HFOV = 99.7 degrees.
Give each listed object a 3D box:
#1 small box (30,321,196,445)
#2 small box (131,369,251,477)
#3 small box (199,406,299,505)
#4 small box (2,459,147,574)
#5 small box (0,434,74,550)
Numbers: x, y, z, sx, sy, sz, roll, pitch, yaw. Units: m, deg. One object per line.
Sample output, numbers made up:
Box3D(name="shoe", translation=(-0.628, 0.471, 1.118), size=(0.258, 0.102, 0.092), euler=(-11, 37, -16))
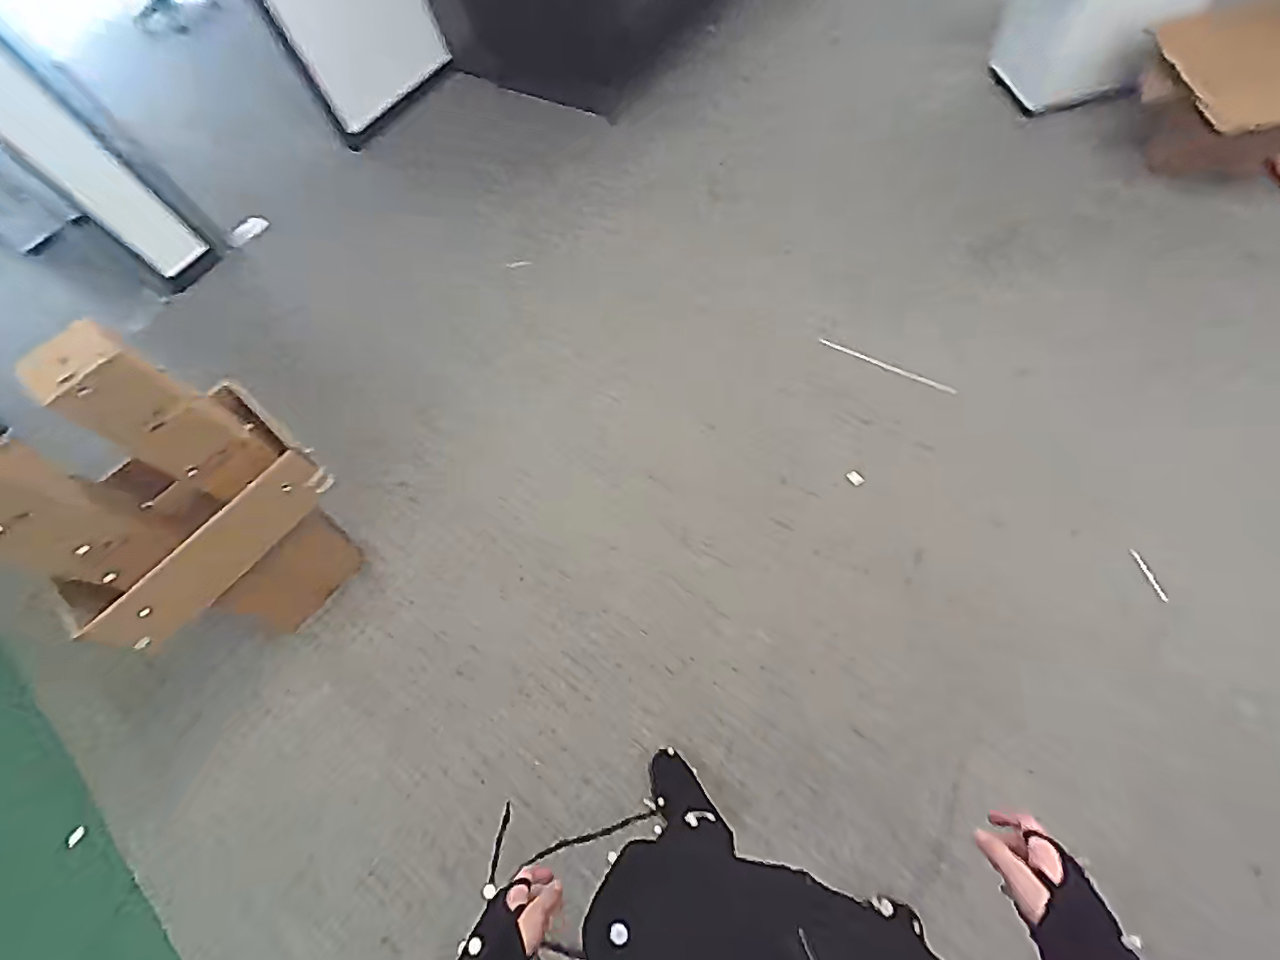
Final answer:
Box3D(name="small box", translation=(-1.134, -0.205, 1.174), size=(0.179, 0.176, 0.168), euler=(34, 74, 24))
Box3D(name="small box", translation=(-1.104, -0.129, 1.316), size=(0.179, 0.176, 0.168), euler=(37, 75, 25))
Box3D(name="small box", translation=(-1.081, -0.061, 1.465), size=(0.179, 0.176, 0.168), euler=(36, 74, 23))
Box3D(name="small box", translation=(-1.304, 0.089, 1.242), size=(0.179, 0.176, 0.168), euler=(38, 76, 25))
Box3D(name="small box", translation=(-1.330, 0.016, 1.099), size=(0.179, 0.176, 0.168), euler=(37, 76, 25))
